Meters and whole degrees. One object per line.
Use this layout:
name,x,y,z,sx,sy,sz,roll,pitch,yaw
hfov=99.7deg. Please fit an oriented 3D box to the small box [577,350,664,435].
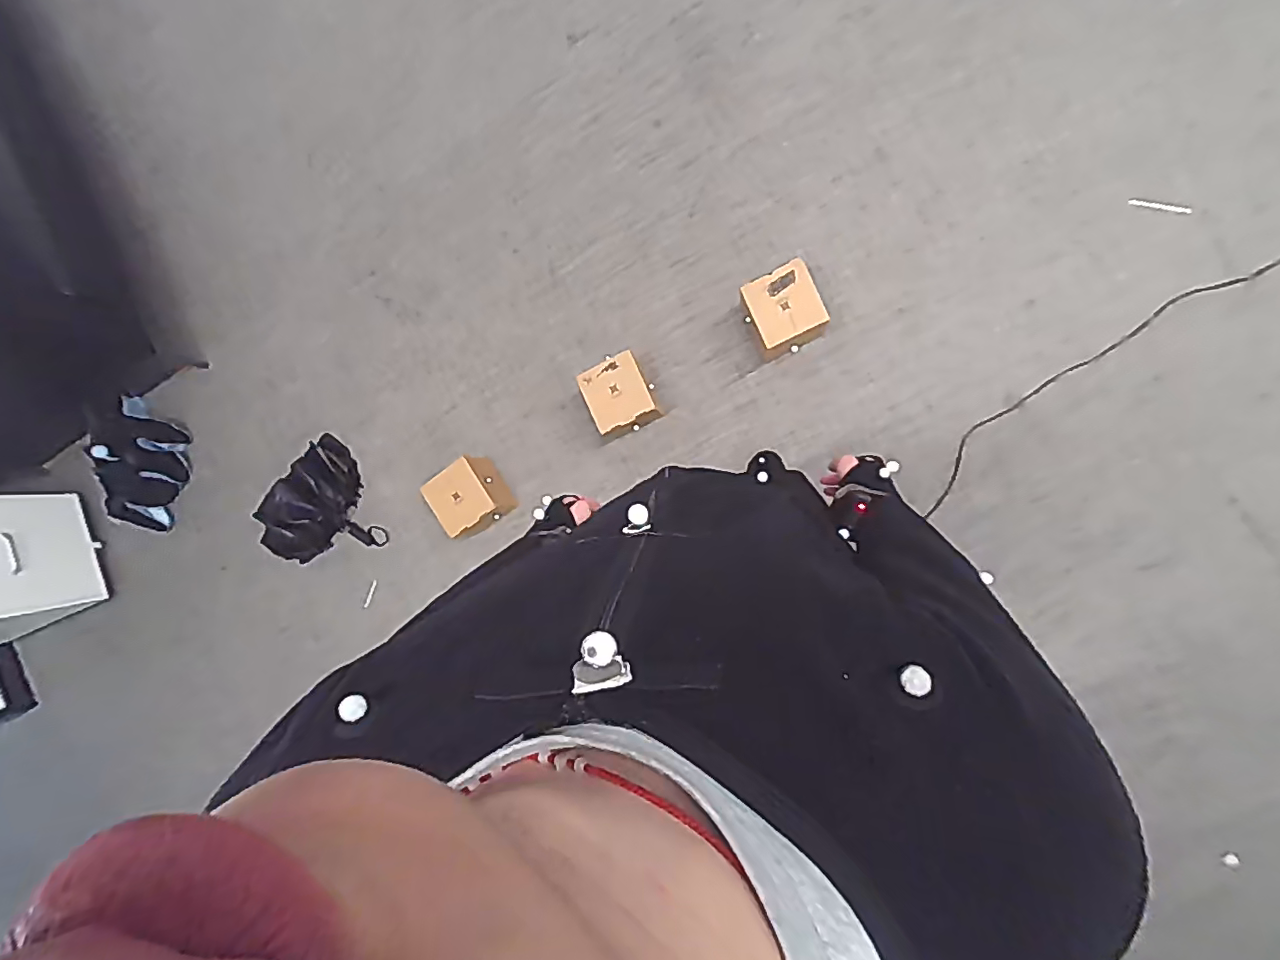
small box,-0.047,-0.236,1.508,0.168,0.176,0.179,-25,86,11

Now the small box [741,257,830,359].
small box,0.374,-0.442,1.418,0.168,0.176,0.179,-25,87,12
